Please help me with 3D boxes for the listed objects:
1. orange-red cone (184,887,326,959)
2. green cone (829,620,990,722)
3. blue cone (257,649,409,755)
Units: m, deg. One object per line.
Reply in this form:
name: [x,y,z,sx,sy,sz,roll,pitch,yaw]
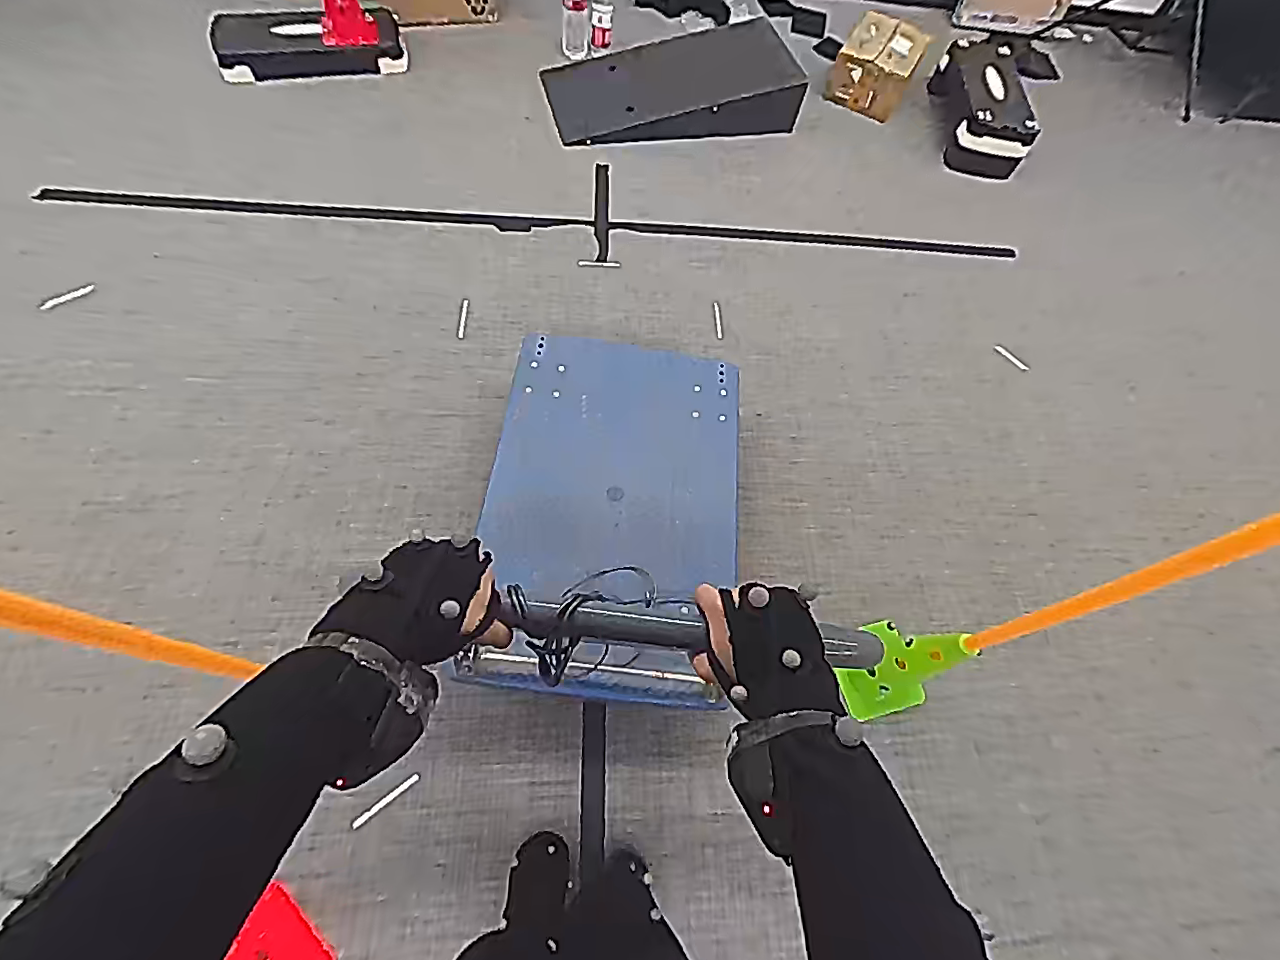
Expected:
orange-red cone: [-0.651,0.774,0.779,0.198,0.360,0.199,43,65,14]
green cone: [0.587,0.376,1.134,0.200,0.368,0.202,-11,66,-12]
blue cone: [-0.586,0.393,0.997,0.193,0.380,0.192,15,63,0]
